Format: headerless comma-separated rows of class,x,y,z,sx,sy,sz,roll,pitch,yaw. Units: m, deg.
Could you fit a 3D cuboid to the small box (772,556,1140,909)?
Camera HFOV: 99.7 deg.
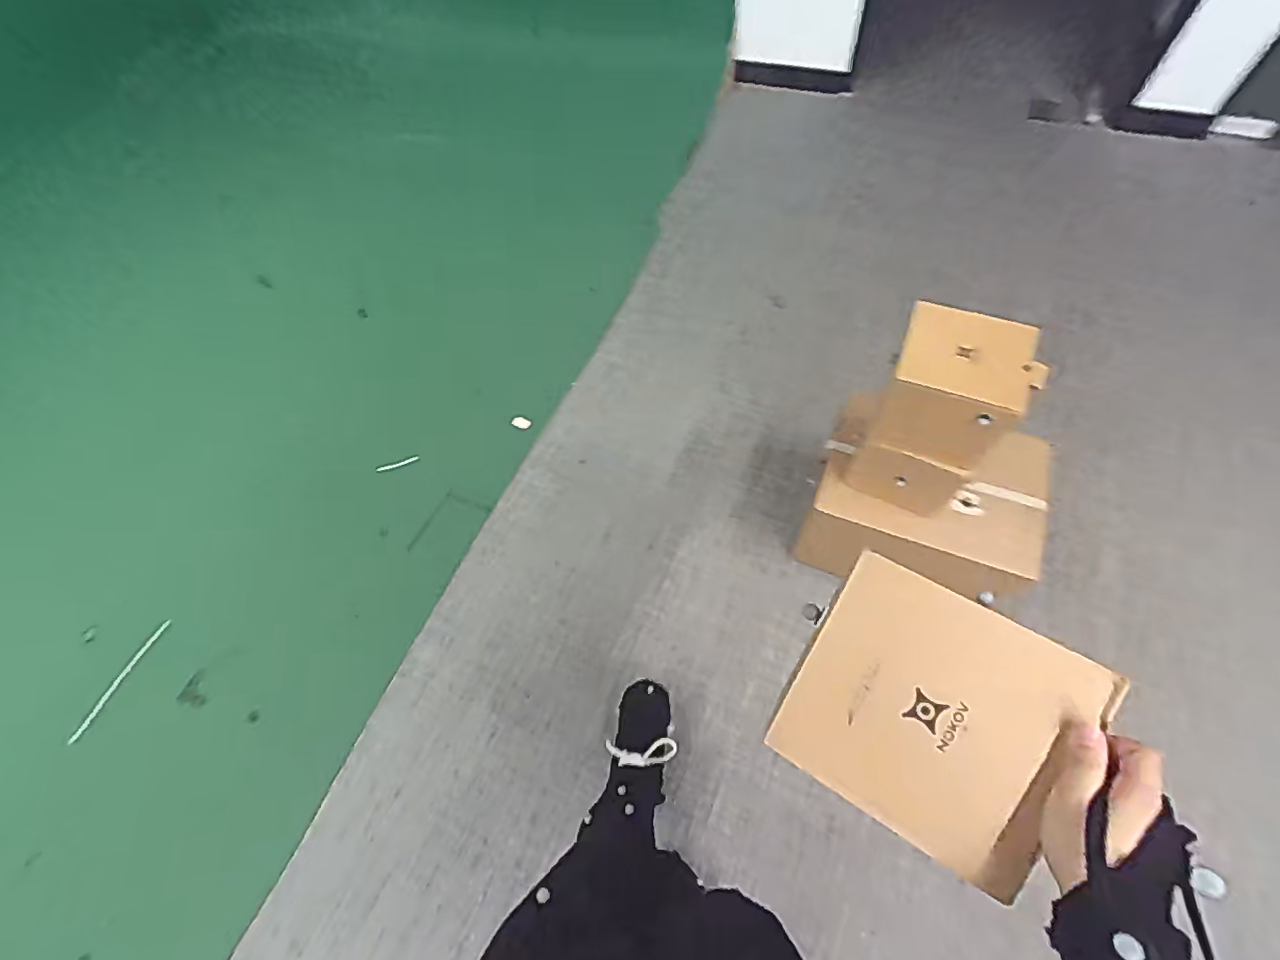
small box,0.232,0.176,0.443,0.179,0.176,0.168,28,89,23

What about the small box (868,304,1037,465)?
small box,0.487,-0.146,0.864,0.179,0.176,0.168,19,66,15

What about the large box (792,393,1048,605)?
large box,0.594,0.061,1.207,0.408,0.320,0.320,19,67,13
